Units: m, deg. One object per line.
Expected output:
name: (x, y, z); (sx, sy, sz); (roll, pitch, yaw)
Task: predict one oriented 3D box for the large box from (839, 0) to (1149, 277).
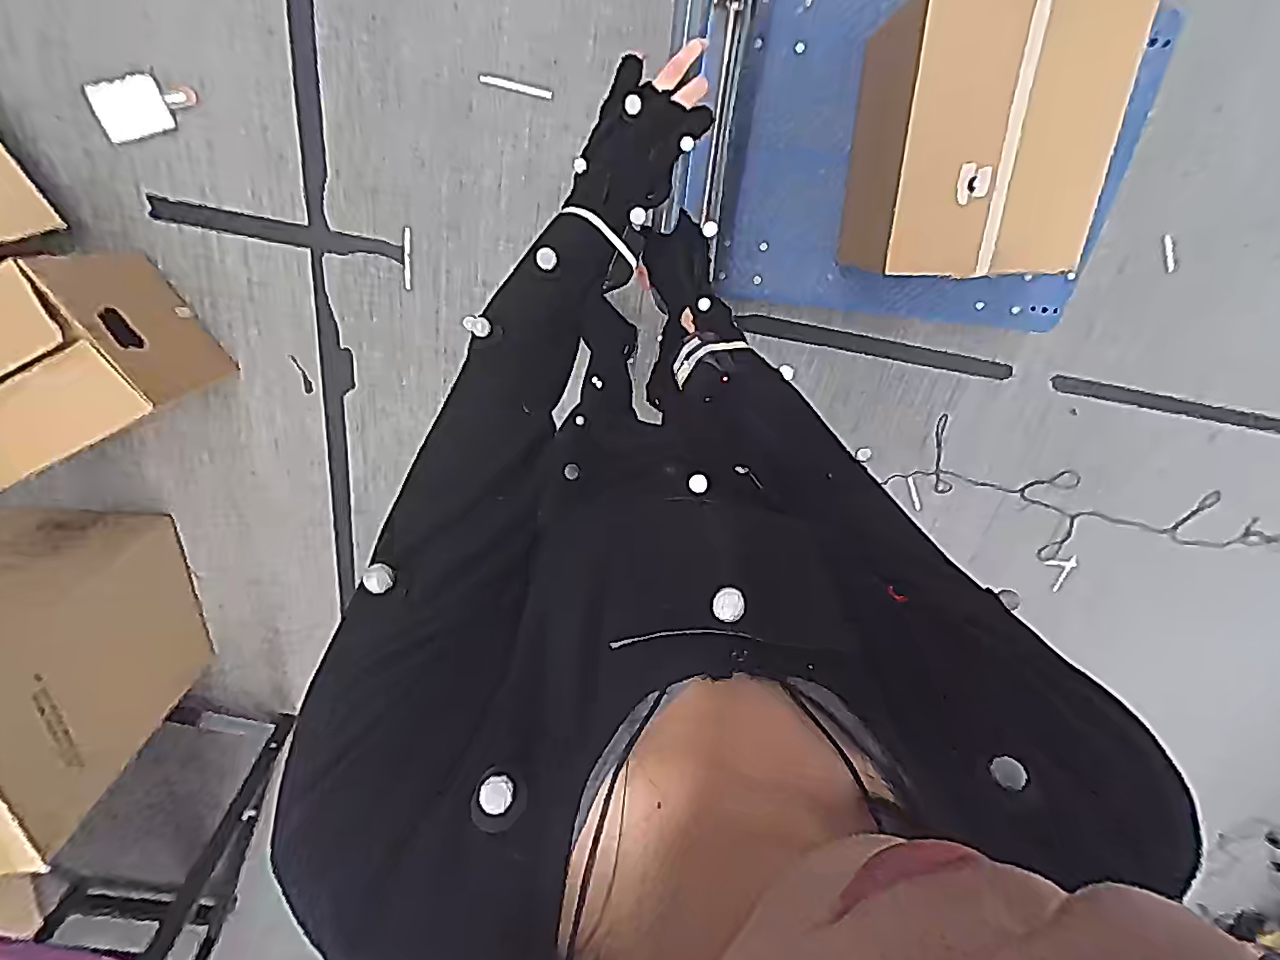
large box: (0.572, -0.593, 0.964); (0.320, 0.320, 0.408); (0, 115, 4)
